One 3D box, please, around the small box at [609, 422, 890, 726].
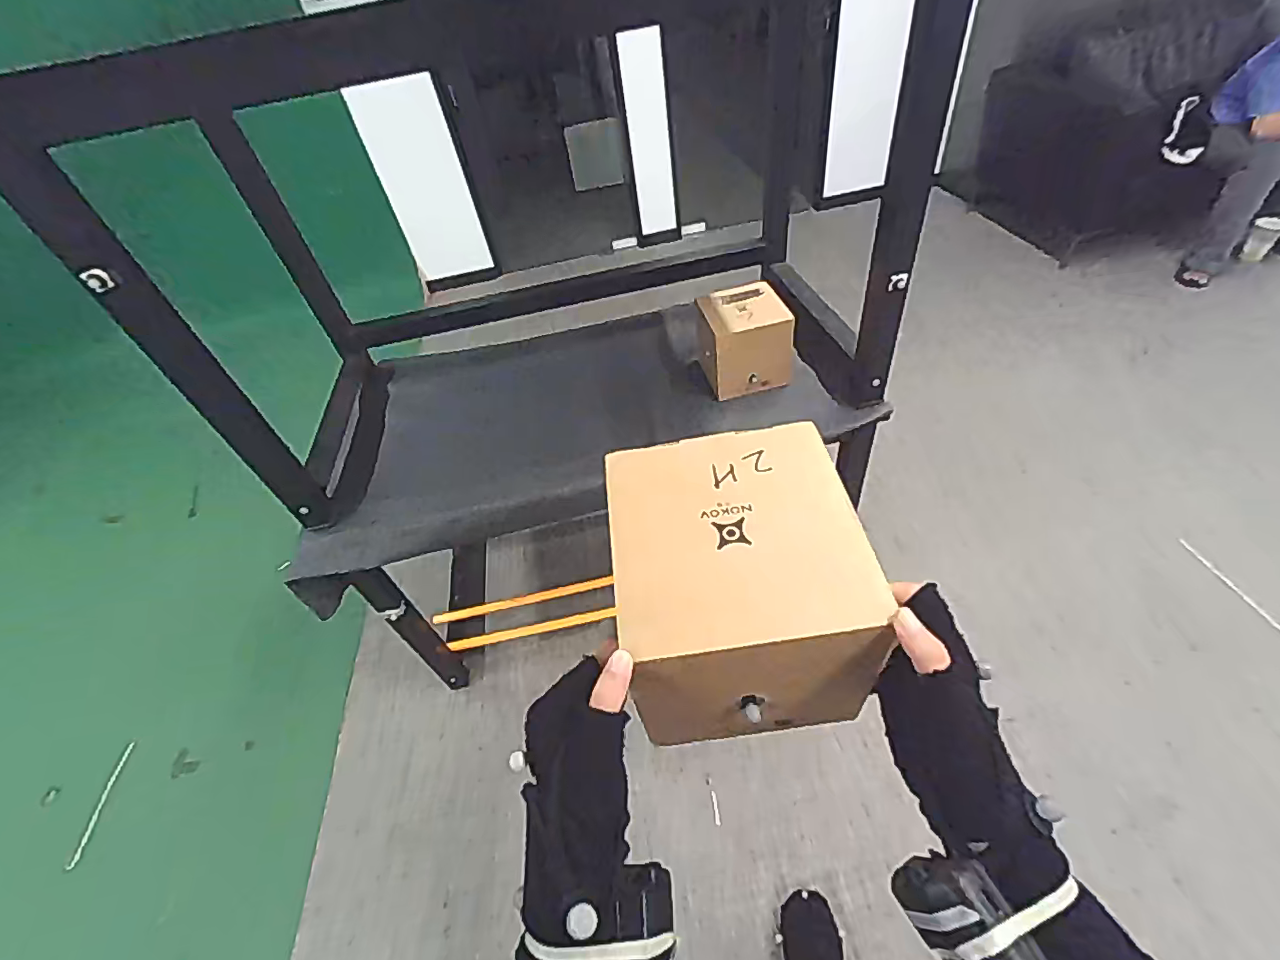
[{"bbox_3d":[0.073,0.082,0.436,0.168,0.176,0.179,-9,47,1],"label":"small box"}]
